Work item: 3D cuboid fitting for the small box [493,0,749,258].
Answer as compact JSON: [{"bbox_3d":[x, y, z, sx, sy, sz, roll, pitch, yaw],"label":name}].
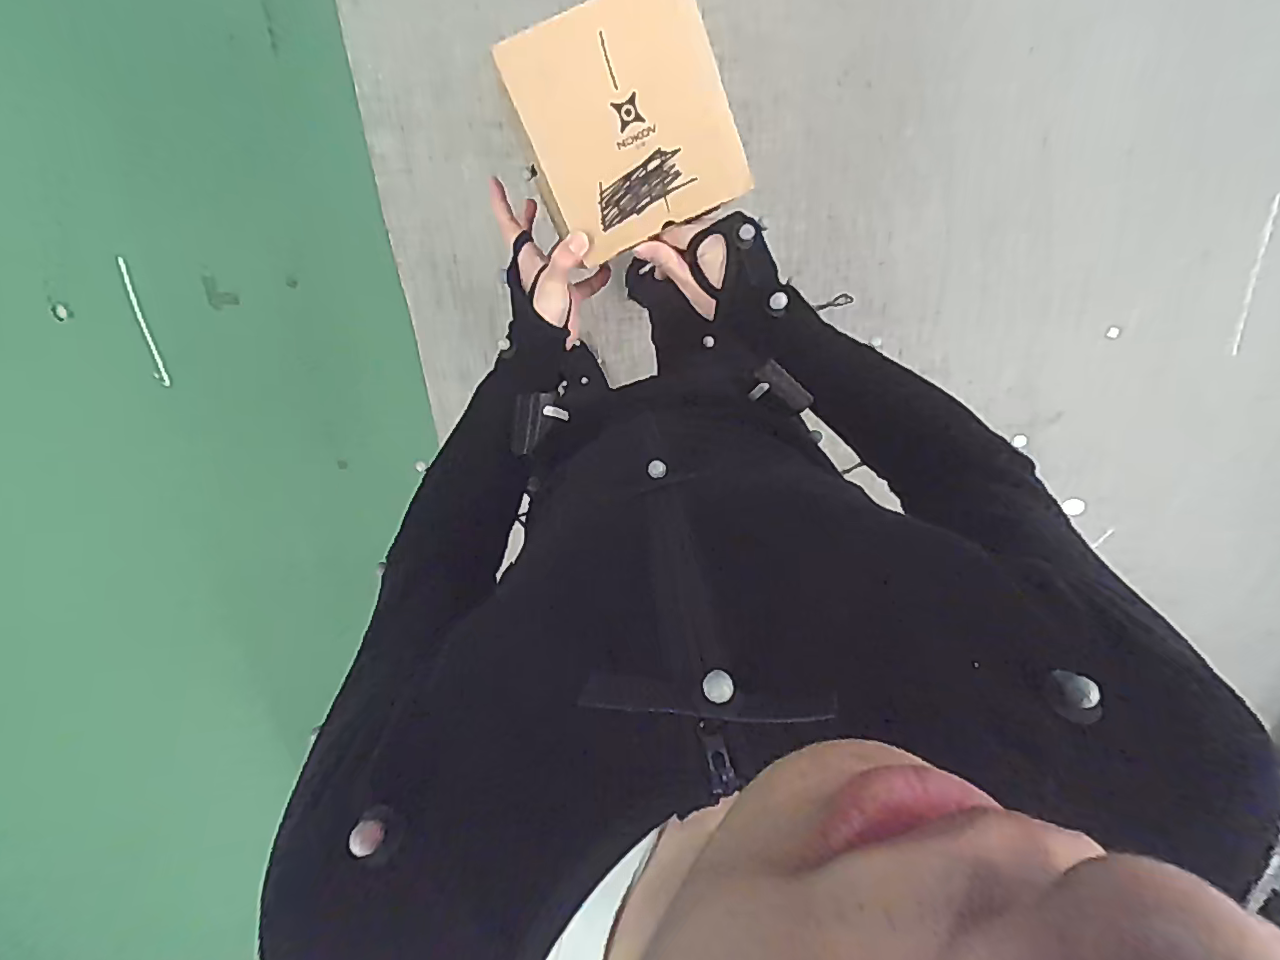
[{"bbox_3d":[-0.021,-0.330,0.513,0.168,0.176,0.179,-25,115,-2],"label":"small box"}]
